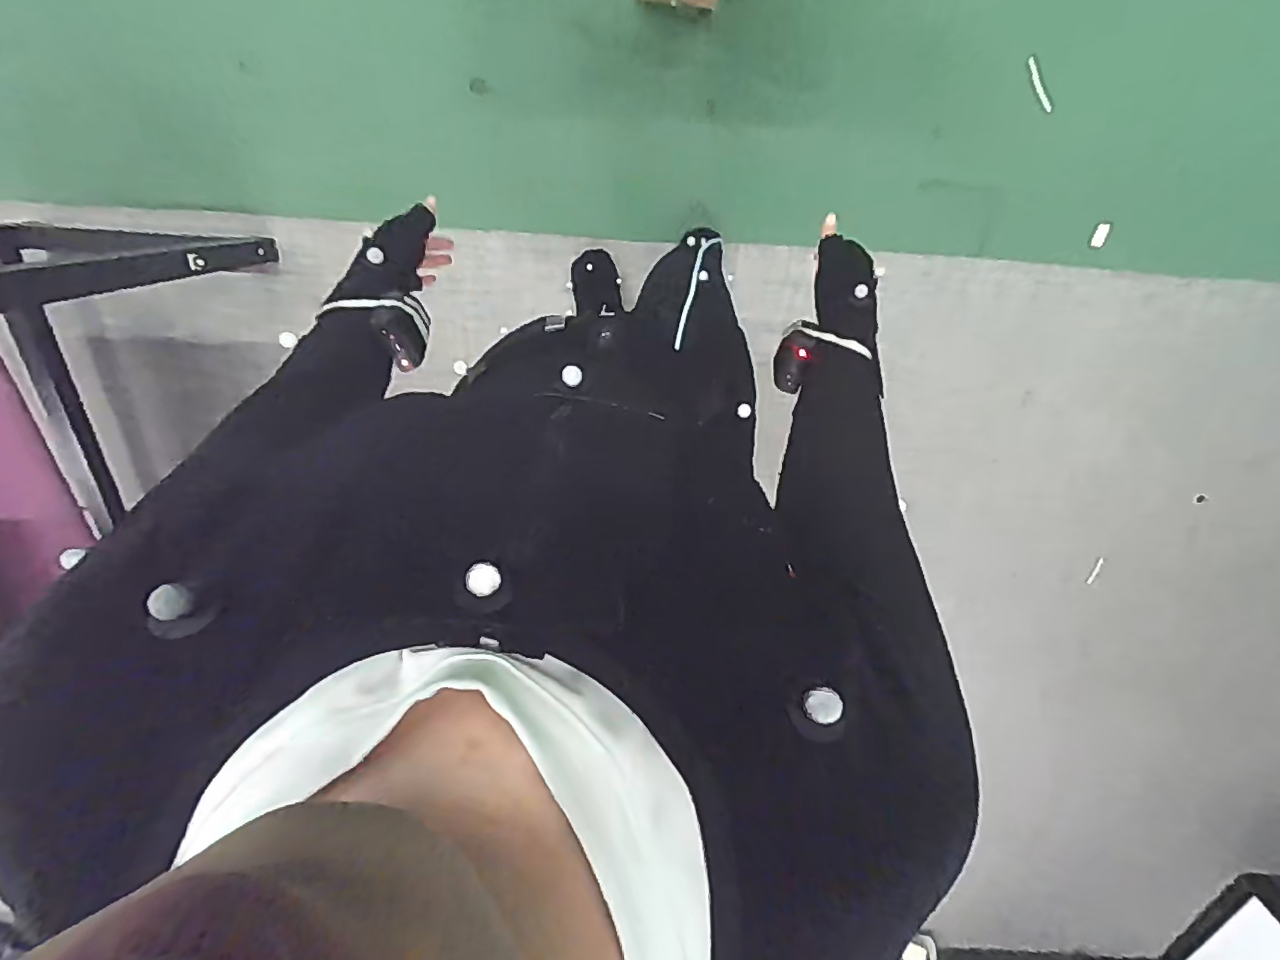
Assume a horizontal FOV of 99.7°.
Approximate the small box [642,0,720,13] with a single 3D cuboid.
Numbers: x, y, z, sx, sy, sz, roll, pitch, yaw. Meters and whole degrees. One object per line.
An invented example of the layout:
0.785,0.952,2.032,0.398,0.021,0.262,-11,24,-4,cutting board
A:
0.081,-0.986,0.972,0.168,0.176,0.179,6,117,-2,small box
